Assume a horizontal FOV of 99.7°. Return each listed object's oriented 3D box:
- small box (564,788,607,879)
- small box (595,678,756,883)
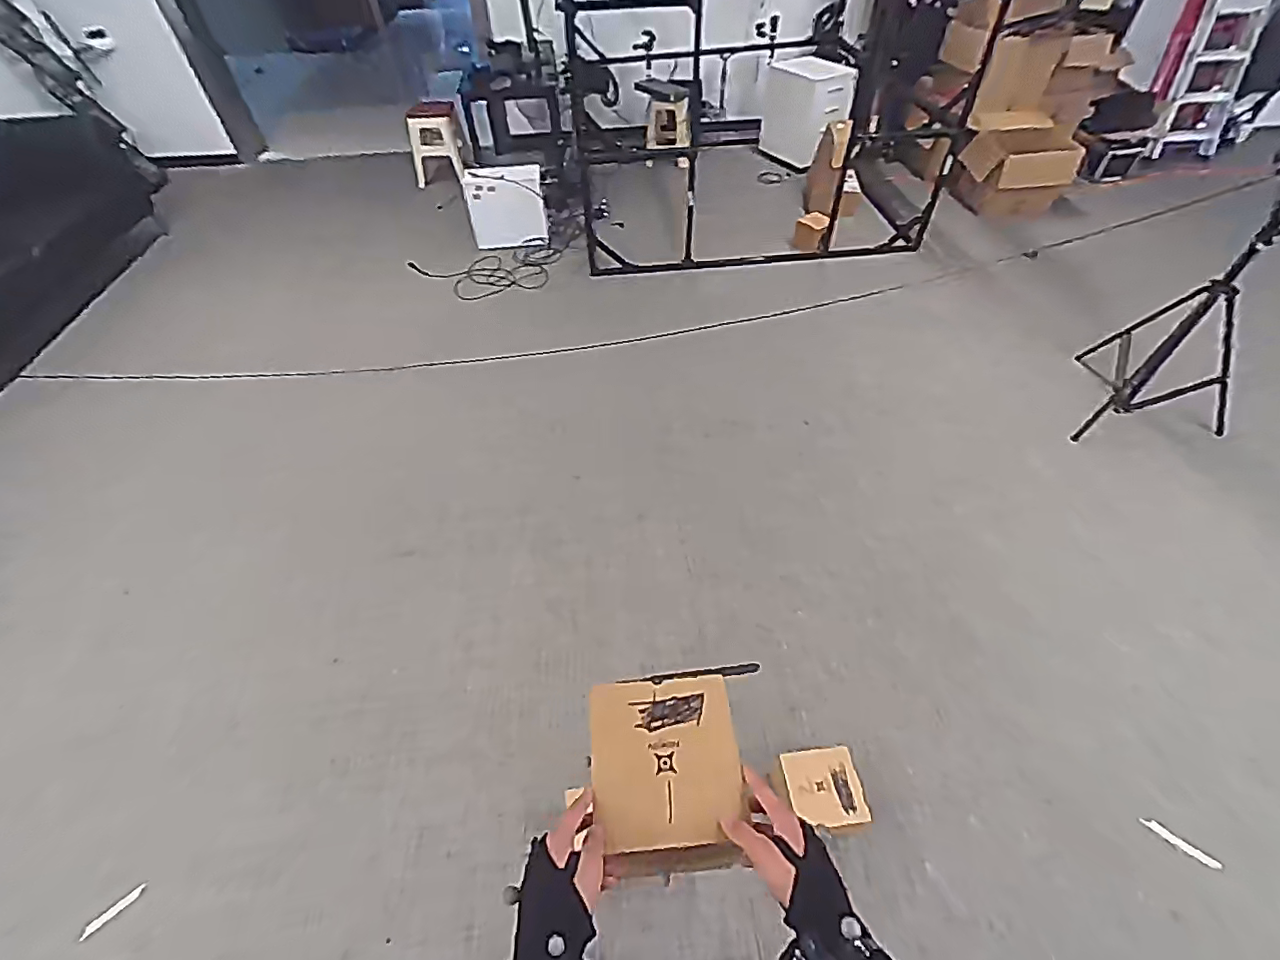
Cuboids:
[{"bbox_3d":[-0.087,0.857,1.316,0.179,0.176,0.168,-7,49,-3],"label":"small box"},{"bbox_3d":[0.028,0.363,0.655,0.168,0.176,0.179,-3,47,-4],"label":"small box"}]
